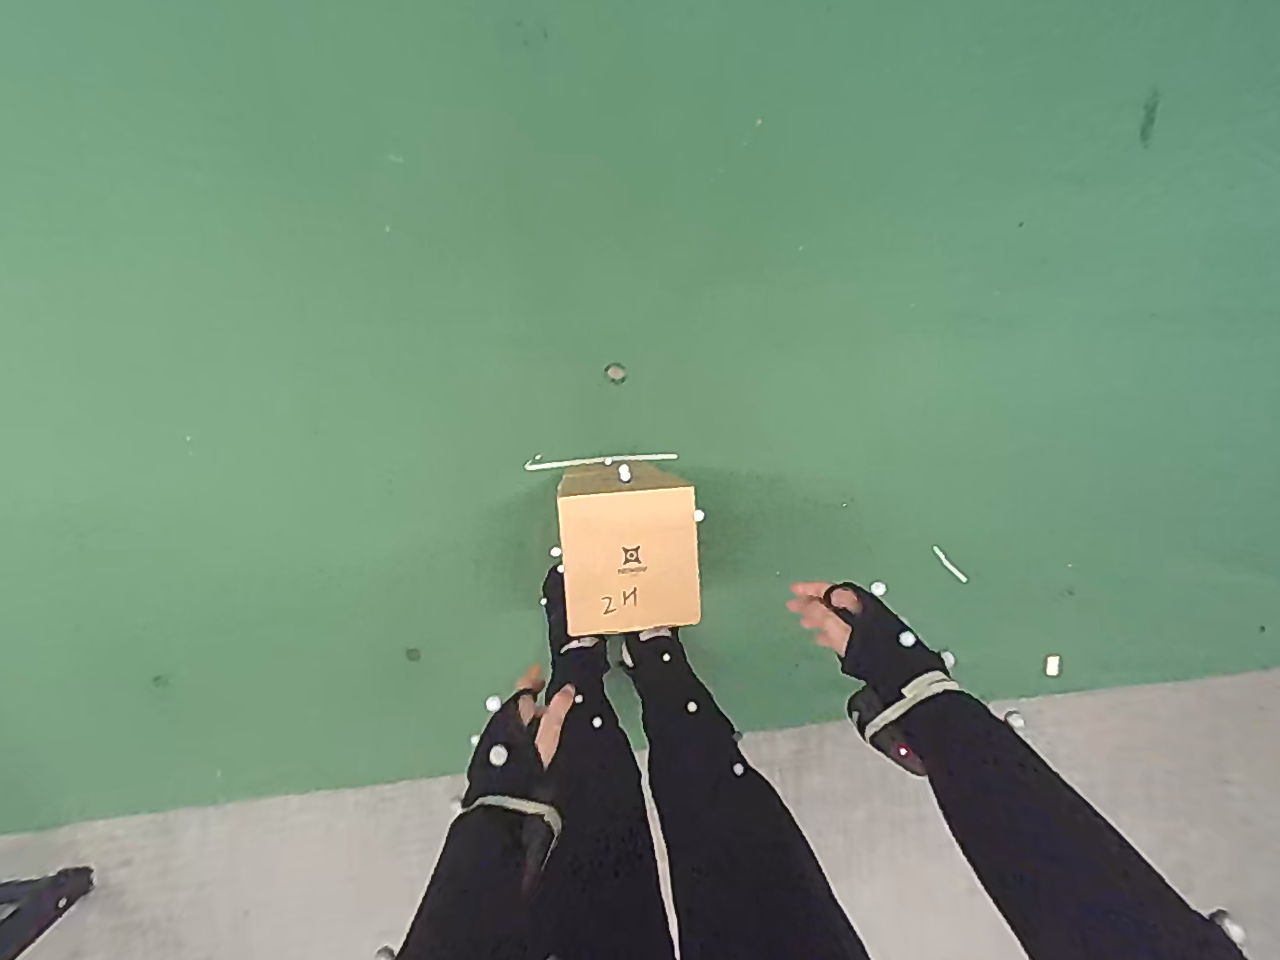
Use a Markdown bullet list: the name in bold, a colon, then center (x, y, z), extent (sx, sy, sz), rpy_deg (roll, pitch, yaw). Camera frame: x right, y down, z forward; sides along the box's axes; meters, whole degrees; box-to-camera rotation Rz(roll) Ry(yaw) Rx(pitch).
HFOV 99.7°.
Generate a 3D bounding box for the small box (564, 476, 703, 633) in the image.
- **small box**: center (-0.015, 0.086, 0.723), extent (0.168, 0.176, 0.179), rpy_deg (-3, 96, -6)
